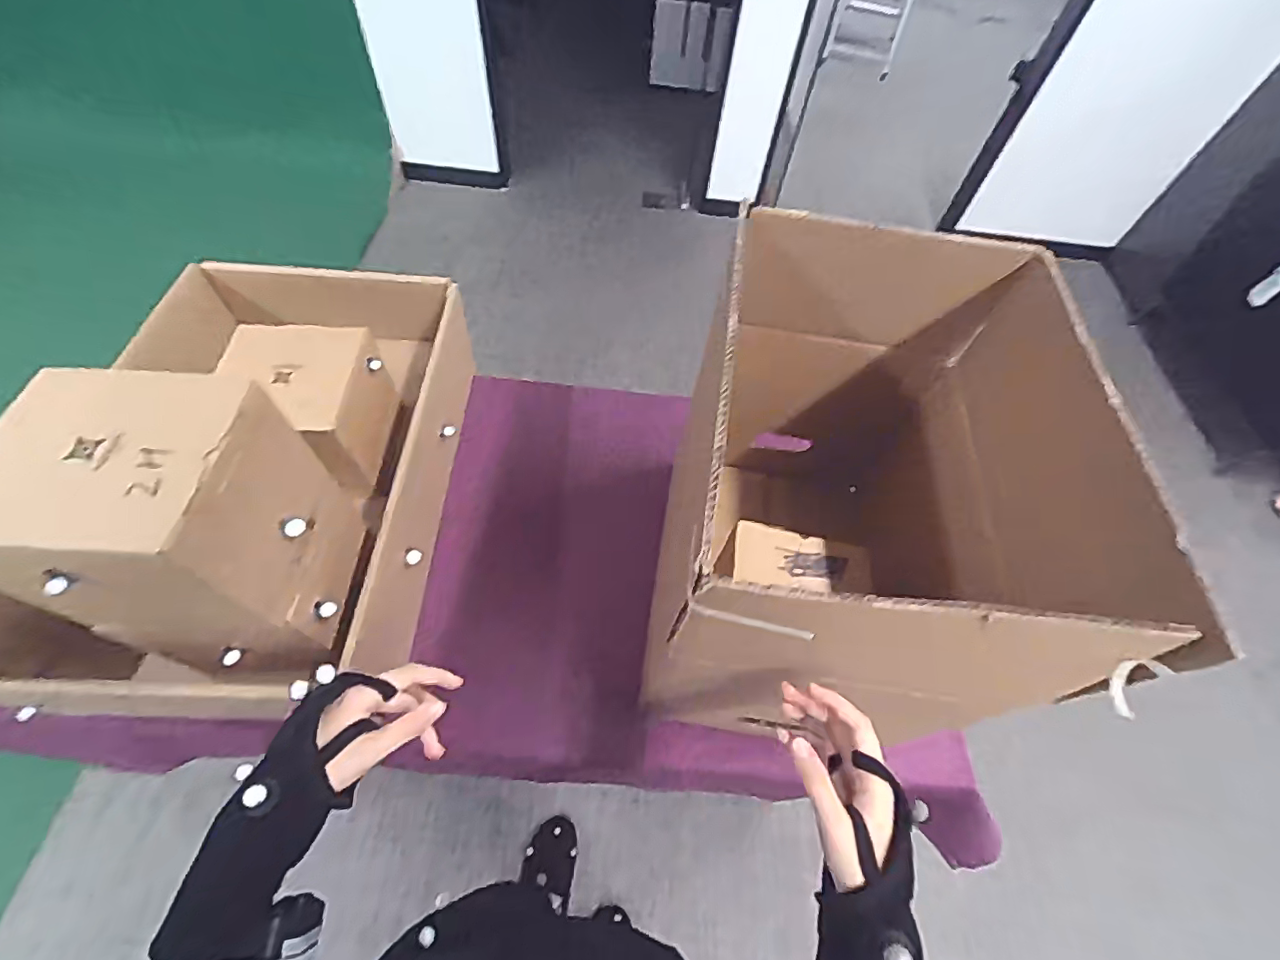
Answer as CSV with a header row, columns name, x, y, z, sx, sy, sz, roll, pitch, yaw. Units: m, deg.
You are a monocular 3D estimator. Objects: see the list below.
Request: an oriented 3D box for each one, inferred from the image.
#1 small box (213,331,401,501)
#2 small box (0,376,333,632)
name,x,y,z,sx,sy,sz,roll,pitch,yaw
small box,-0.451,-0.082,0.747,0.168,0.176,0.179,0,57,-4
small box,-0.415,0.029,0.479,0.179,0.176,0.168,3,57,-2
